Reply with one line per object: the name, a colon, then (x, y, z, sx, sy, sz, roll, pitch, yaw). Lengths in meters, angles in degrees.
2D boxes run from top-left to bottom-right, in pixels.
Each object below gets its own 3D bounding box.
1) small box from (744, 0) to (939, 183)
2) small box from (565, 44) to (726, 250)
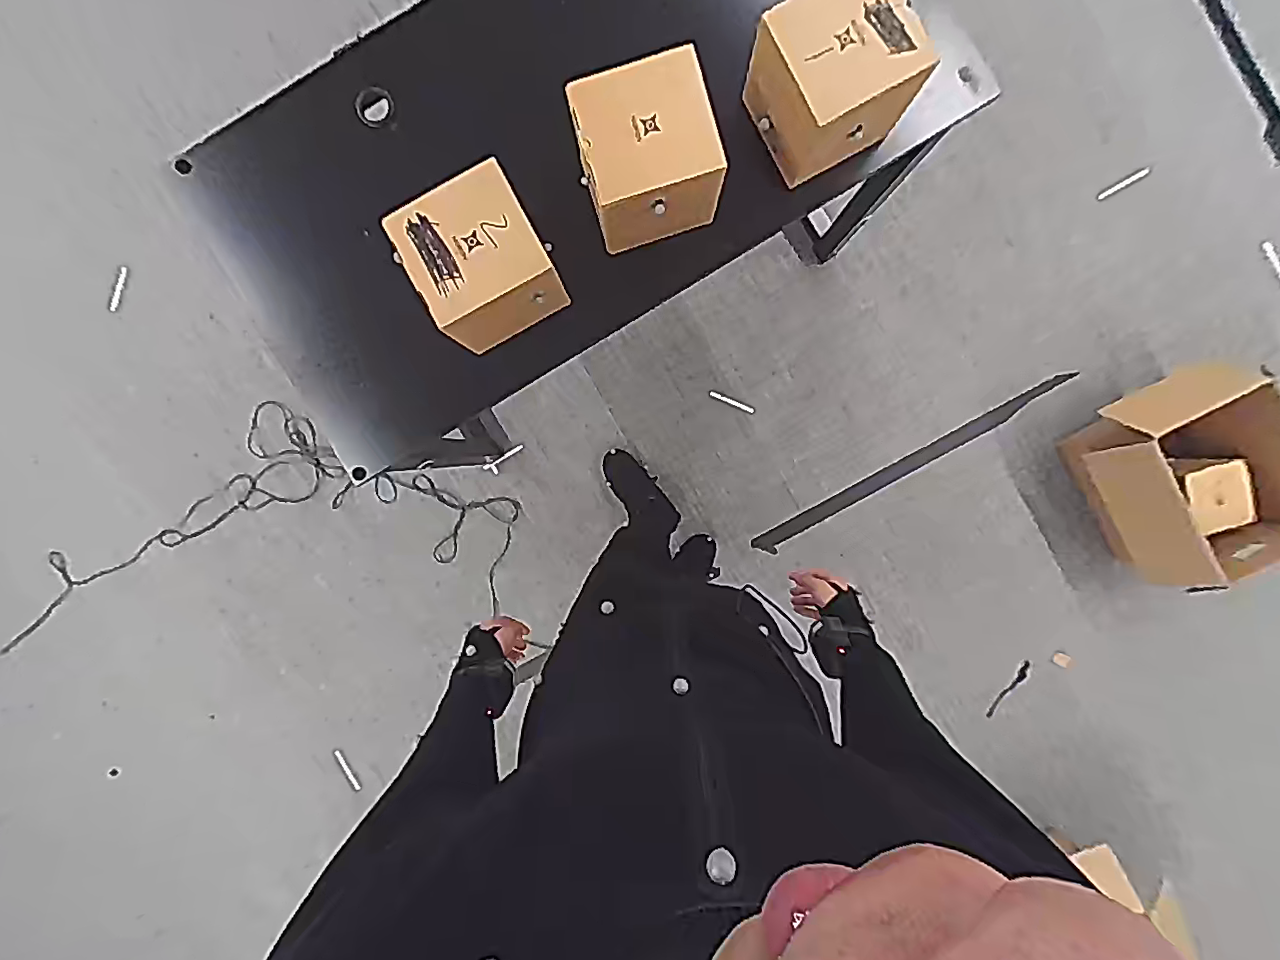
small box: (0.268, -0.567, 0.762, 0.179, 0.176, 0.168, -29, 91, 4)
small box: (0.009, -0.460, 0.776, 0.179, 0.176, 0.168, -17, 91, 3)
